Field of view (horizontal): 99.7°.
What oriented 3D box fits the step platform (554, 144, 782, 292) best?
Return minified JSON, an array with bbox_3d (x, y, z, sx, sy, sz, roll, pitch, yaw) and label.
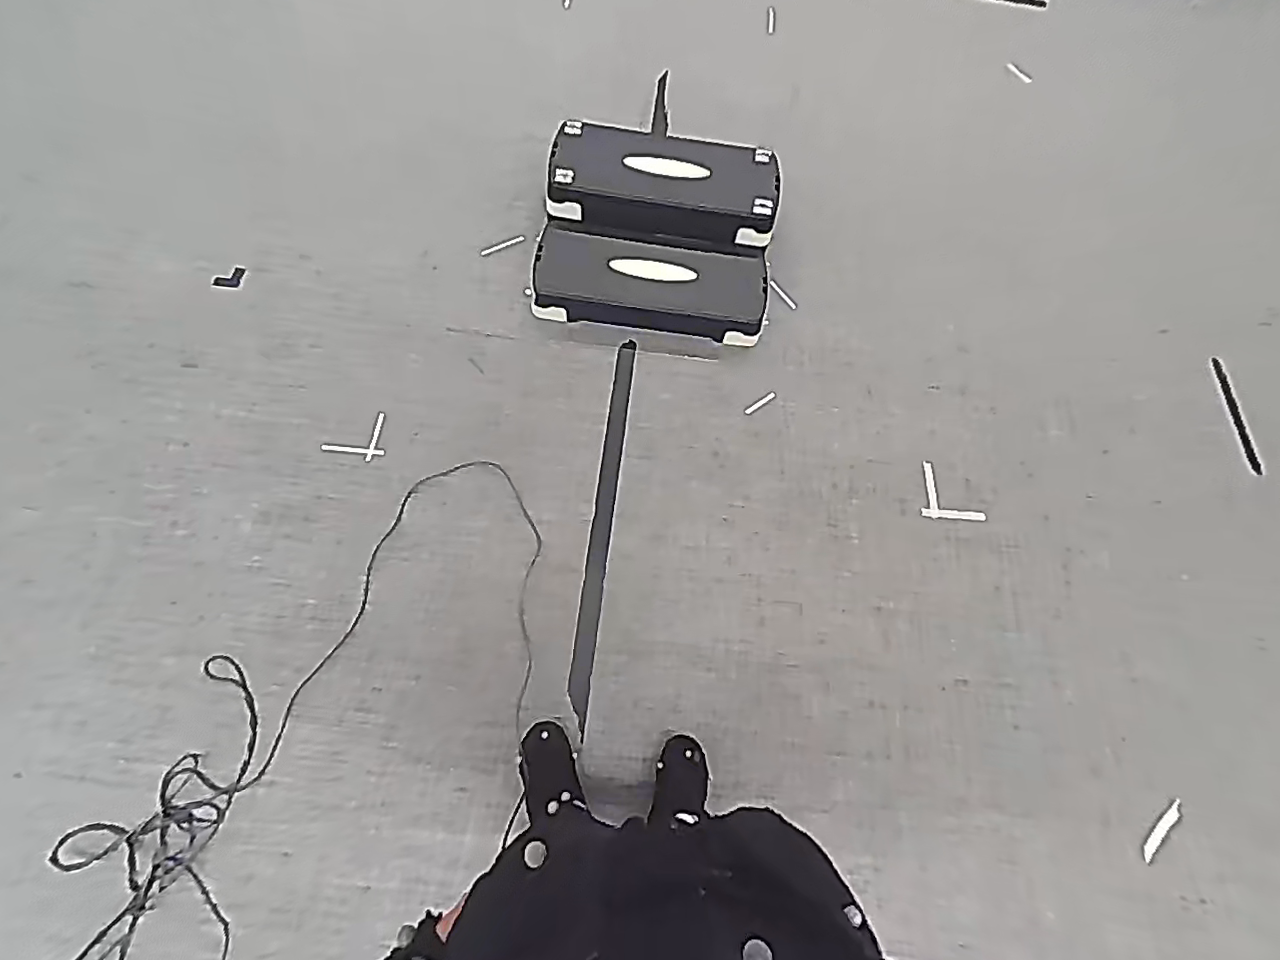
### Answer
[{"bbox_3d":[0.085,-0.803,1.660,0.684,0.204,0.286,11,67,-1],"label":"step platform"}]
